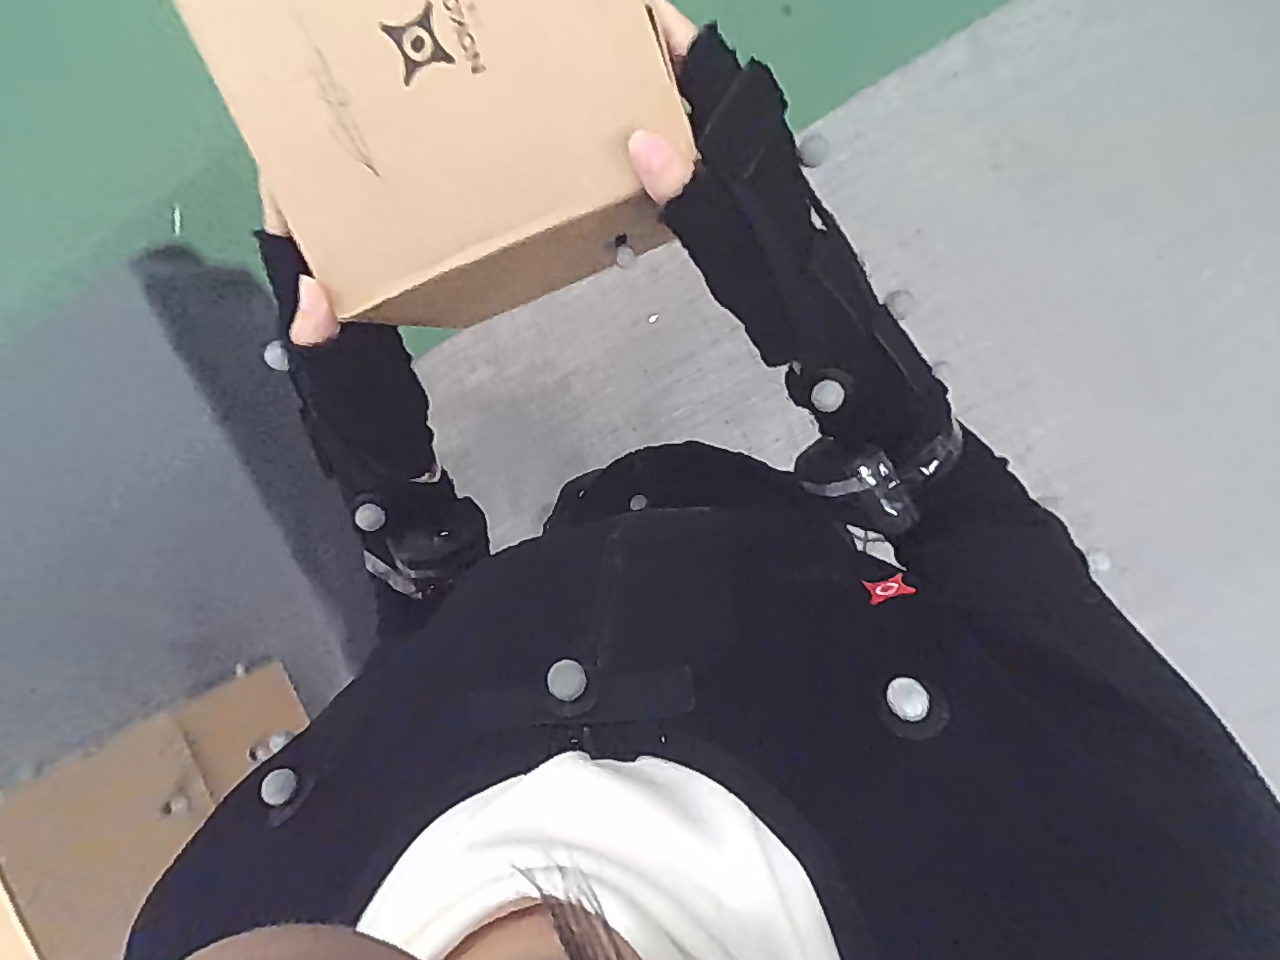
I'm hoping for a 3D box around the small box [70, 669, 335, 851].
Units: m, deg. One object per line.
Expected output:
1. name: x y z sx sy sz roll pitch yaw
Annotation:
1. small box: -0.541 0.366 0.690 0.168 0.176 0.179 -27 90 8
